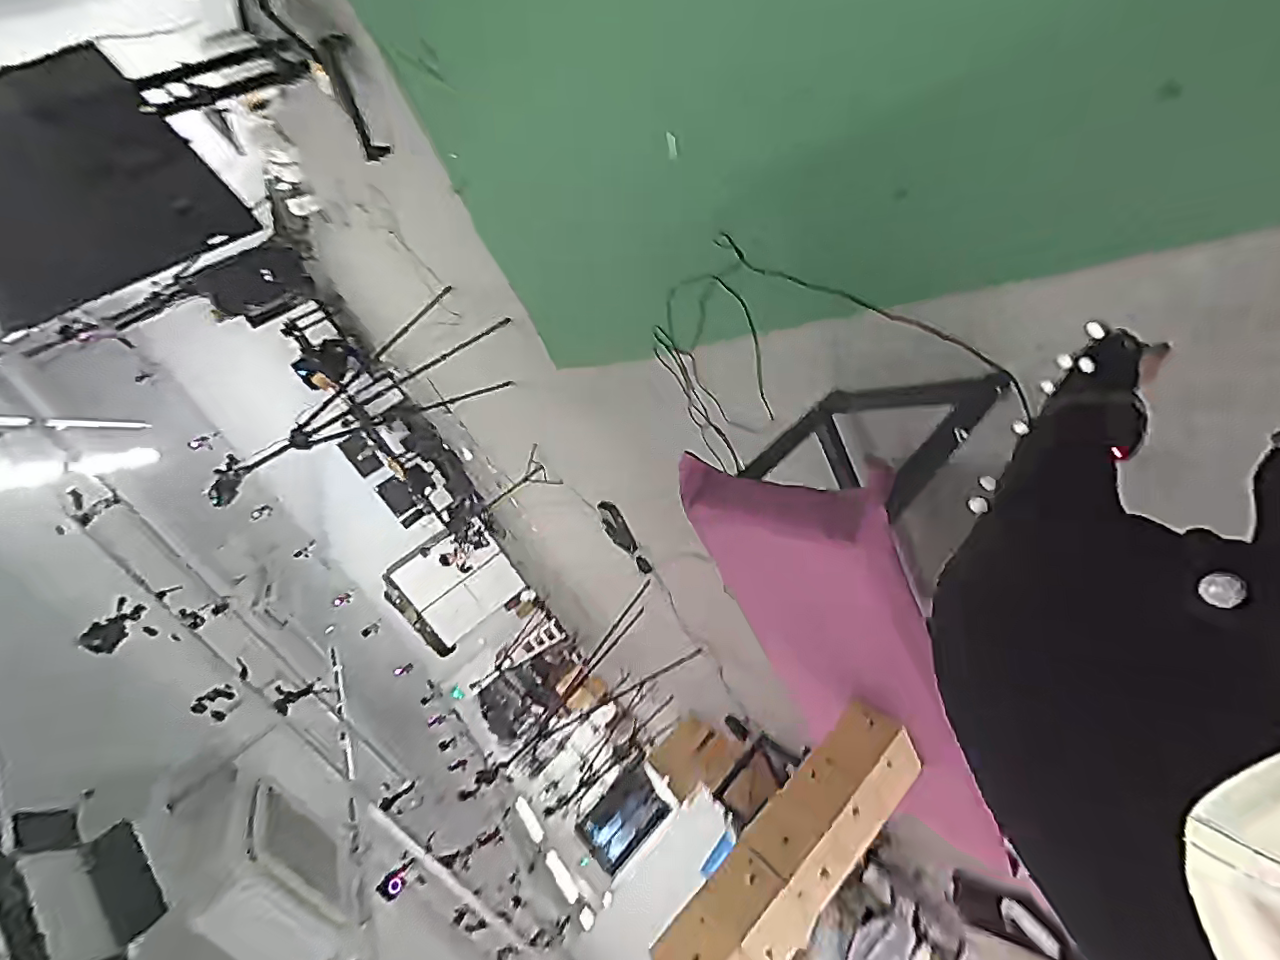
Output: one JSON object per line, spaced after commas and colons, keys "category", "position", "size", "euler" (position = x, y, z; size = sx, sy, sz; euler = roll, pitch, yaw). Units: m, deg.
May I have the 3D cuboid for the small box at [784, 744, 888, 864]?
{"category": "small box", "position": [0.518, 0.842, 1.426], "size": [0.168, 0.176, 0.179], "euler": [9, 132, 59]}

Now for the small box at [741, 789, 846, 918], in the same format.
{"category": "small box", "position": [0.396, 0.934, 1.370], "size": [0.179, 0.176, 0.168], "euler": [6, 129, 60]}

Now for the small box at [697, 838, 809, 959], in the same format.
{"category": "small box", "position": [0.277, 1.025, 1.303], "size": [0.168, 0.176, 0.179], "euler": [7, 129, 60]}

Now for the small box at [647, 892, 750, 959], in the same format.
{"category": "small box", "position": [0.154, 1.113, 1.244], "size": [0.168, 0.176, 0.179], "euler": [7, 131, 60]}
